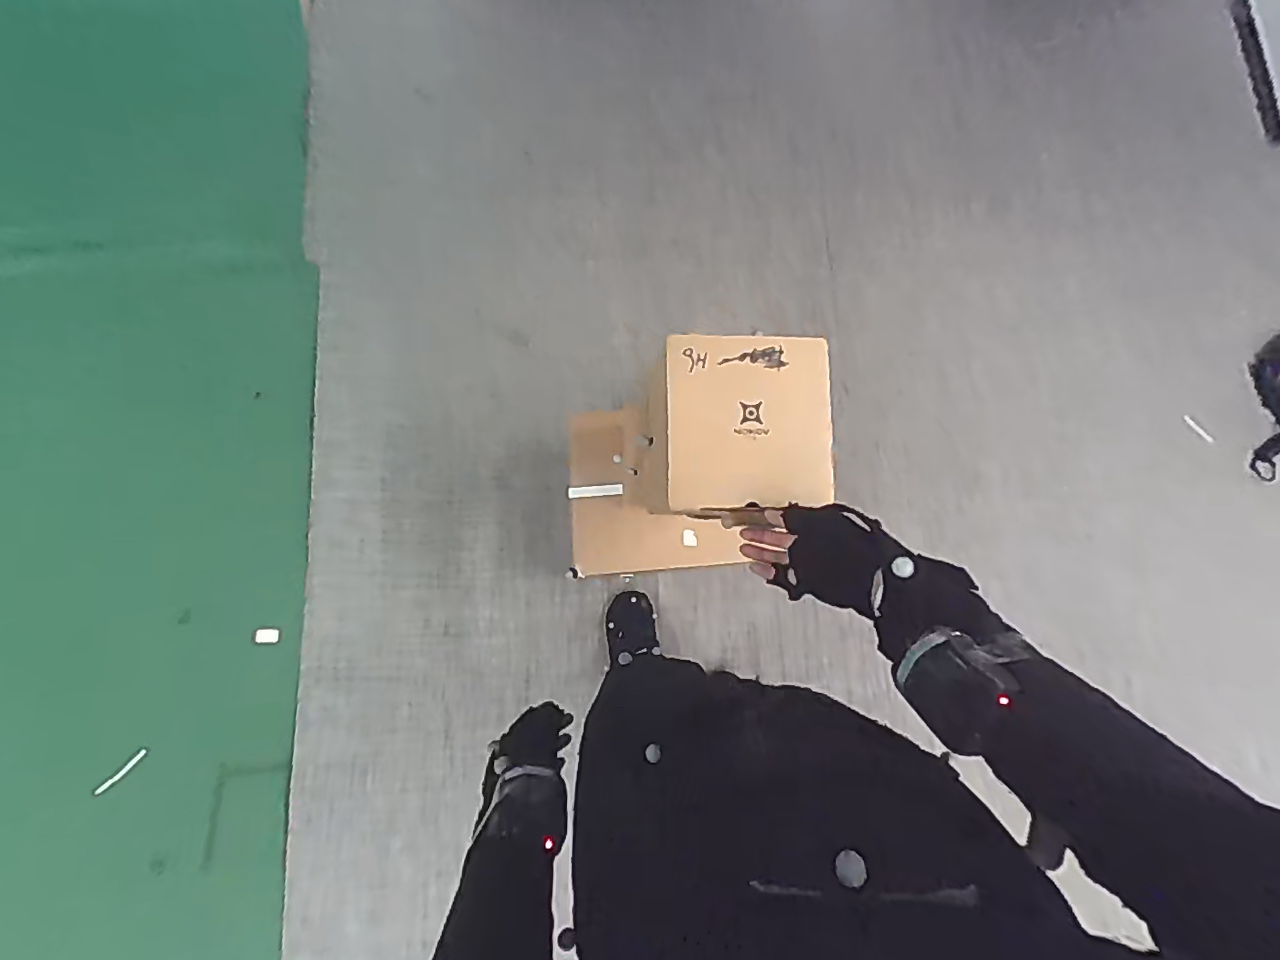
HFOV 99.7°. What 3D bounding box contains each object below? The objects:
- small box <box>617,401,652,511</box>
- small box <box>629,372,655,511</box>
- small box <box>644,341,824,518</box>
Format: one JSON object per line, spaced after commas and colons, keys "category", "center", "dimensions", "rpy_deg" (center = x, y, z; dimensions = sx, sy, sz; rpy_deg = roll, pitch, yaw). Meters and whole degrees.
{"category": "small box", "center": [0.055, -0.032, 0.937], "dimensions": [0.179, 0.176, 0.168], "rpy_deg": [3, 83, -5]}
{"category": "small box", "center": [0.074, -0.042, 0.779], "dimensions": [0.168, 0.176, 0.179], "rpy_deg": [3, 83, -6]}
{"category": "small box", "center": [0.096, -0.046, 0.617], "dimensions": [0.168, 0.176, 0.179], "rpy_deg": [0, 85, -6]}
